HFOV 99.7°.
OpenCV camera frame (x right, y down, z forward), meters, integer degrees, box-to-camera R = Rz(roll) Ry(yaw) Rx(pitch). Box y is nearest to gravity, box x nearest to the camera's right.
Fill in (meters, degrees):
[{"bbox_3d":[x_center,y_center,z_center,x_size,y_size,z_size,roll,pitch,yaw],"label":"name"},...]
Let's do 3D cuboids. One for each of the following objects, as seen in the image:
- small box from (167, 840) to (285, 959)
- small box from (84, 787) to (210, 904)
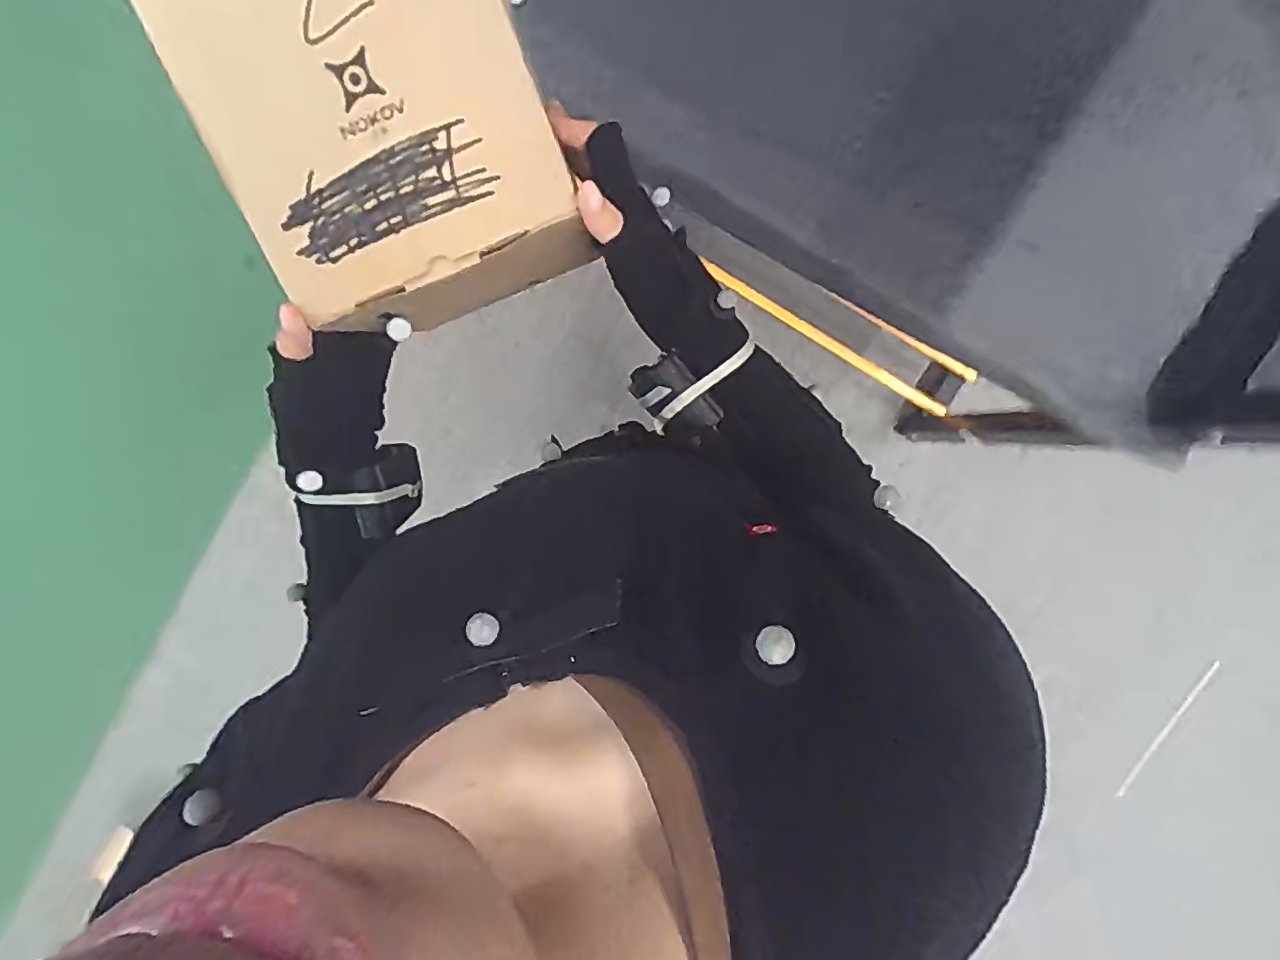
[{"bbox_3d":[-1.155,1.178,1.524,0.168,0.176,0.179,35,94,-1],"label":"small box"},{"bbox_3d":[-1.368,1.015,1.517,0.168,0.176,0.179,35,95,-1],"label":"small box"}]
